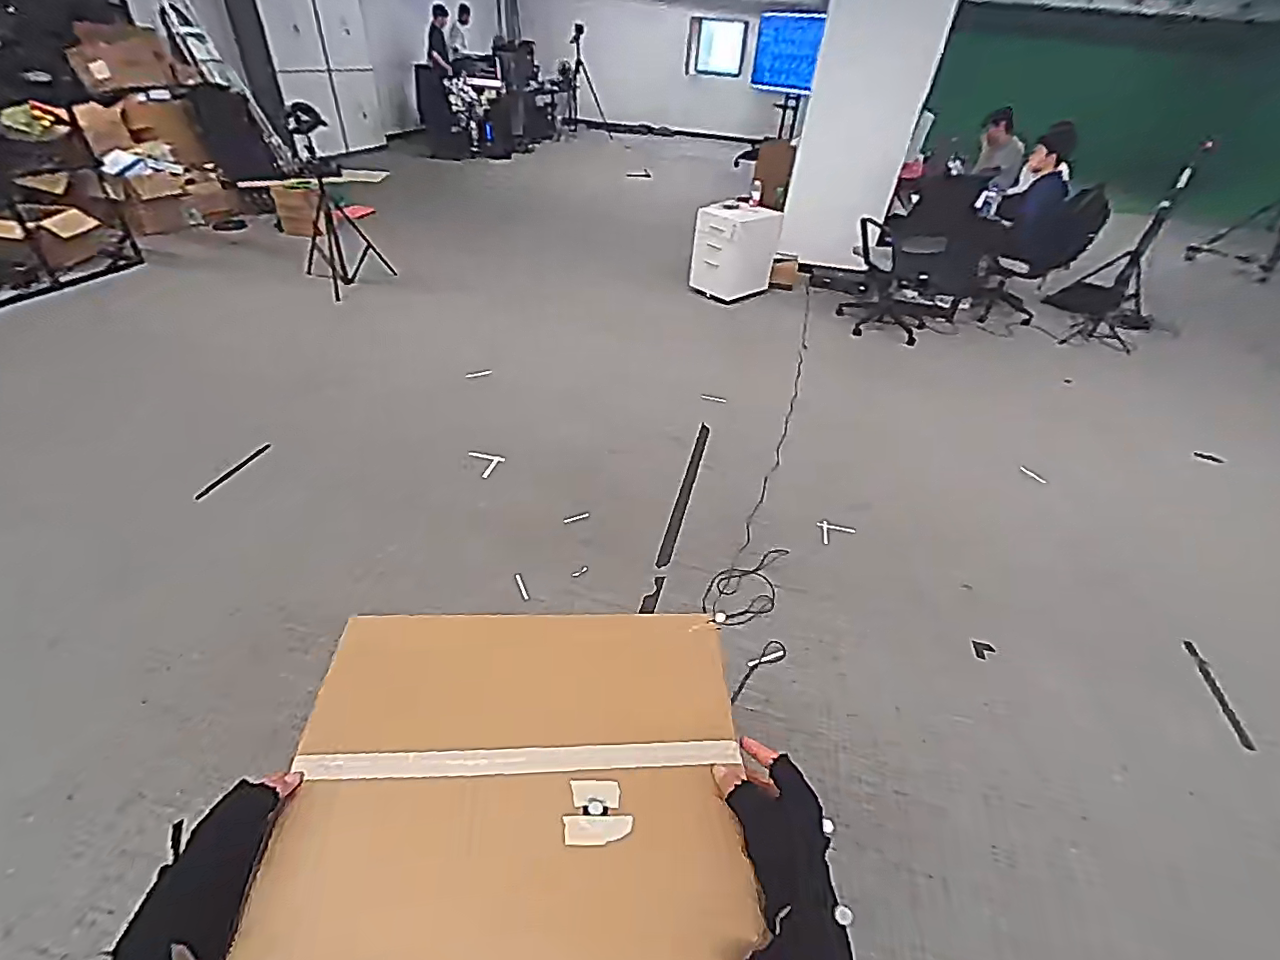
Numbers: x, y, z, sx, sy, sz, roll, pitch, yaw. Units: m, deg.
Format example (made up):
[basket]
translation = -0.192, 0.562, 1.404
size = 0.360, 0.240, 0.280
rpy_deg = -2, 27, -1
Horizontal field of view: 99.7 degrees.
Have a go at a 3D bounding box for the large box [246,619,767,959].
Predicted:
[large box]
translation = -0.116, 0.375, 0.616
size = 0.408, 0.320, 0.320
rpy_deg = 2, 44, -5
